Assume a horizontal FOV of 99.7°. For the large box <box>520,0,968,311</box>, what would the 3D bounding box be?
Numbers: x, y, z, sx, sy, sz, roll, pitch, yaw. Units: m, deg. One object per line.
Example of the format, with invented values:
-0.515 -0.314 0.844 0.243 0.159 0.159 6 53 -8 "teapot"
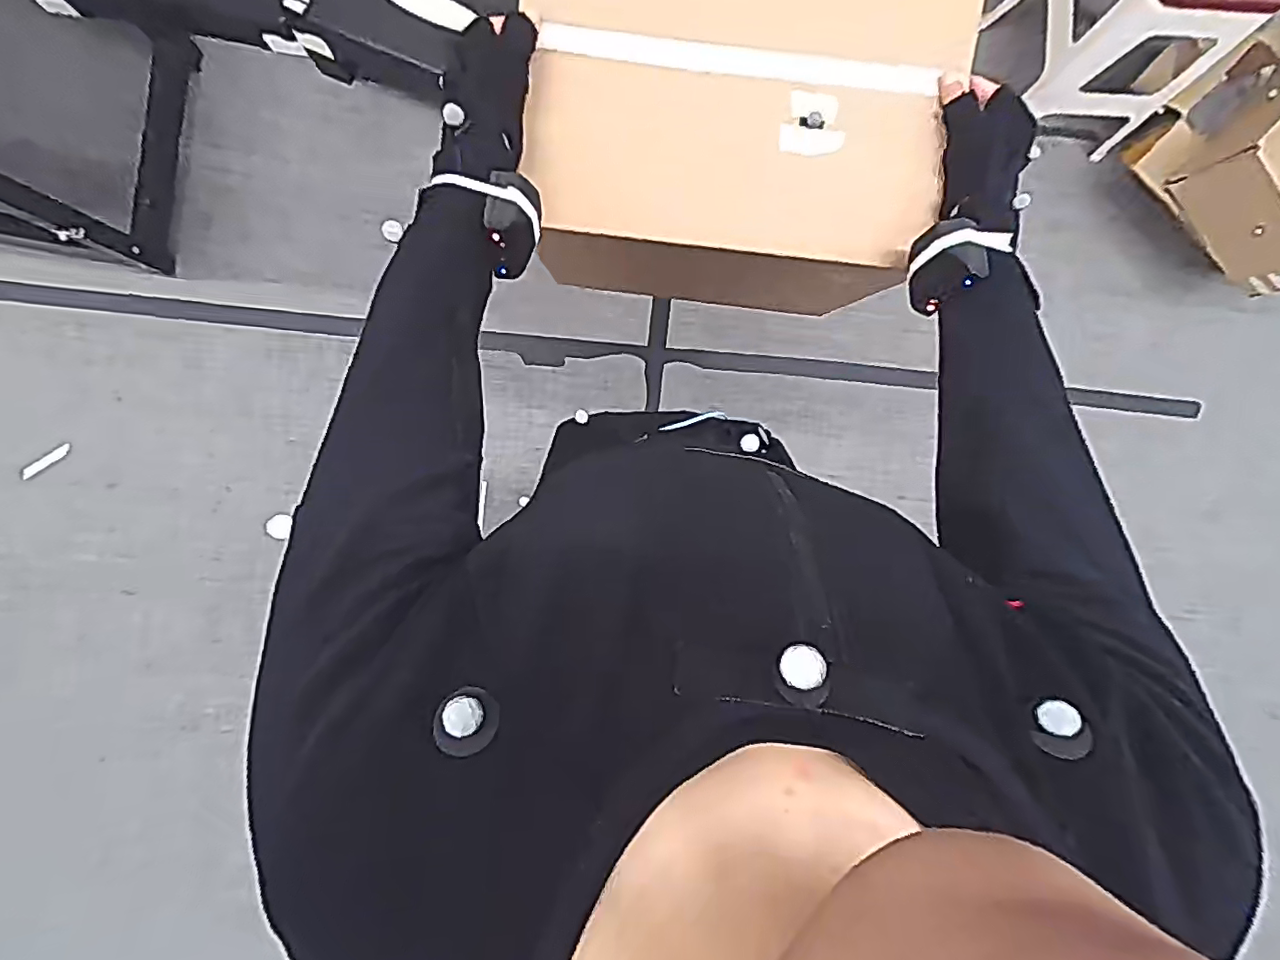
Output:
0.090 -0.398 0.646 0.408 0.320 0.320 6 100 -2 "large box"
